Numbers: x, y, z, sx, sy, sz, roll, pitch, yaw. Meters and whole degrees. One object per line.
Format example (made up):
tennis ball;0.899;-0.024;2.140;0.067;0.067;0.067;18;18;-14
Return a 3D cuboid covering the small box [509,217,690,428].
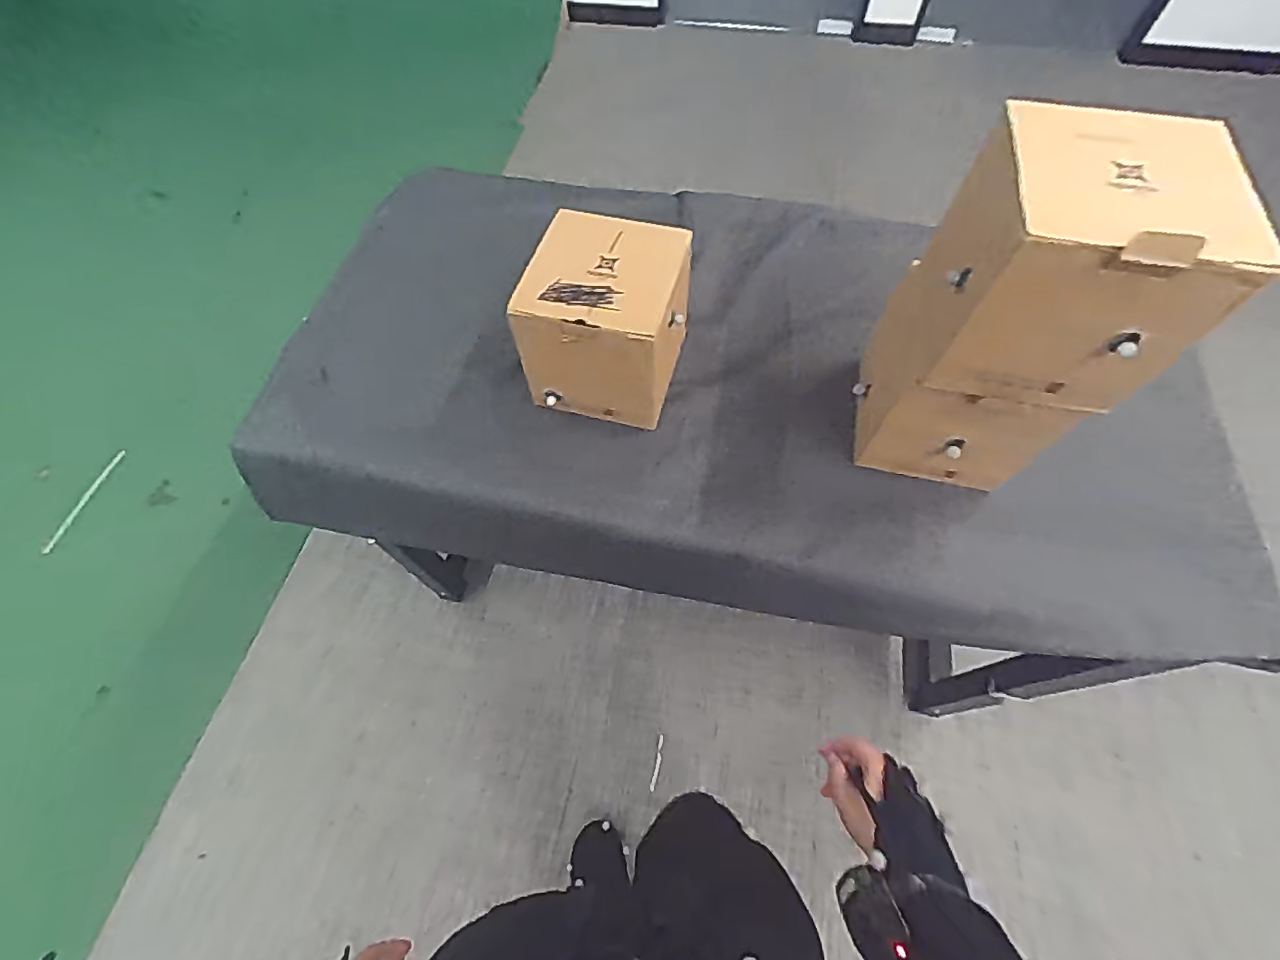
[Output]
small box;-0.039;-0.189;0.674;0.168;0.176;0.179;13;61;8

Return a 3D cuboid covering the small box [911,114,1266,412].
small box;0.359;-0.183;0.479;0.168;0.176;0.179;11;61;6

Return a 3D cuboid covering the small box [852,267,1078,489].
small box;0.356;-0.110;0.625;0.168;0.176;0.179;12;62;7
